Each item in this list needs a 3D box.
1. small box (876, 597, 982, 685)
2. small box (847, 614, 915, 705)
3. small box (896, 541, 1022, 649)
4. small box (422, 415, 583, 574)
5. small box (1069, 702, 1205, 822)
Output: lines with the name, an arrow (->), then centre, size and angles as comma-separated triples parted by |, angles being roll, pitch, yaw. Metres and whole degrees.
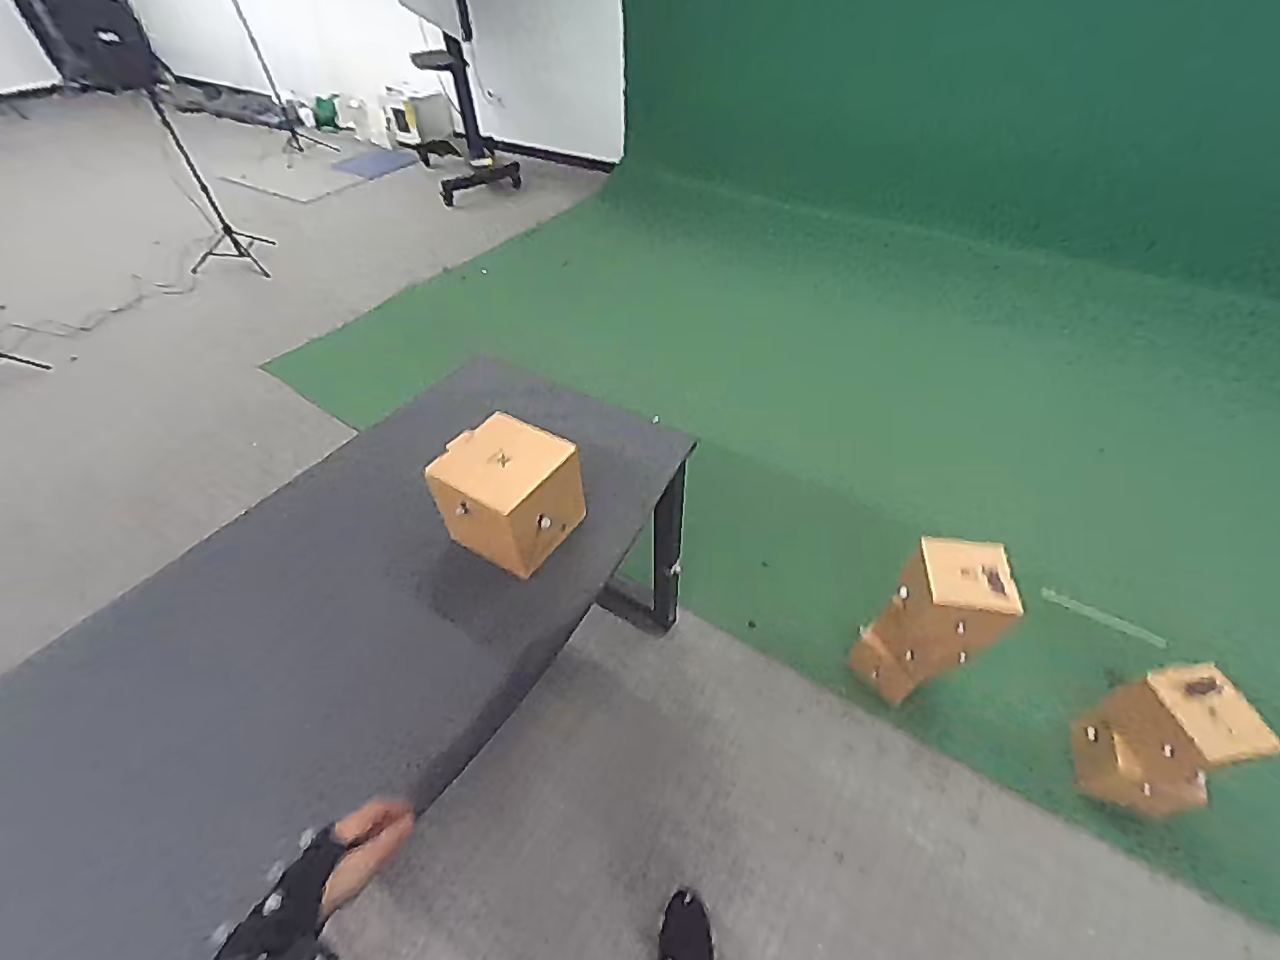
small box -> 0.706, 0.375, 1.321 | 0.179, 0.176, 0.168 | -15, 50, -14
small box -> 0.684, 0.469, 1.455 | 0.179, 0.176, 0.168 | -32, 55, -26
small box -> 0.697, 0.260, 1.203 | 0.179, 0.176, 0.168 | 7, 49, 8
small box -> -0.211, 0.028, 0.880 | 0.179, 0.176, 0.168 | 24, 52, 23
small box -> 1.148, 0.663, 1.270 | 0.168, 0.176, 0.179 | 18, 49, 16
